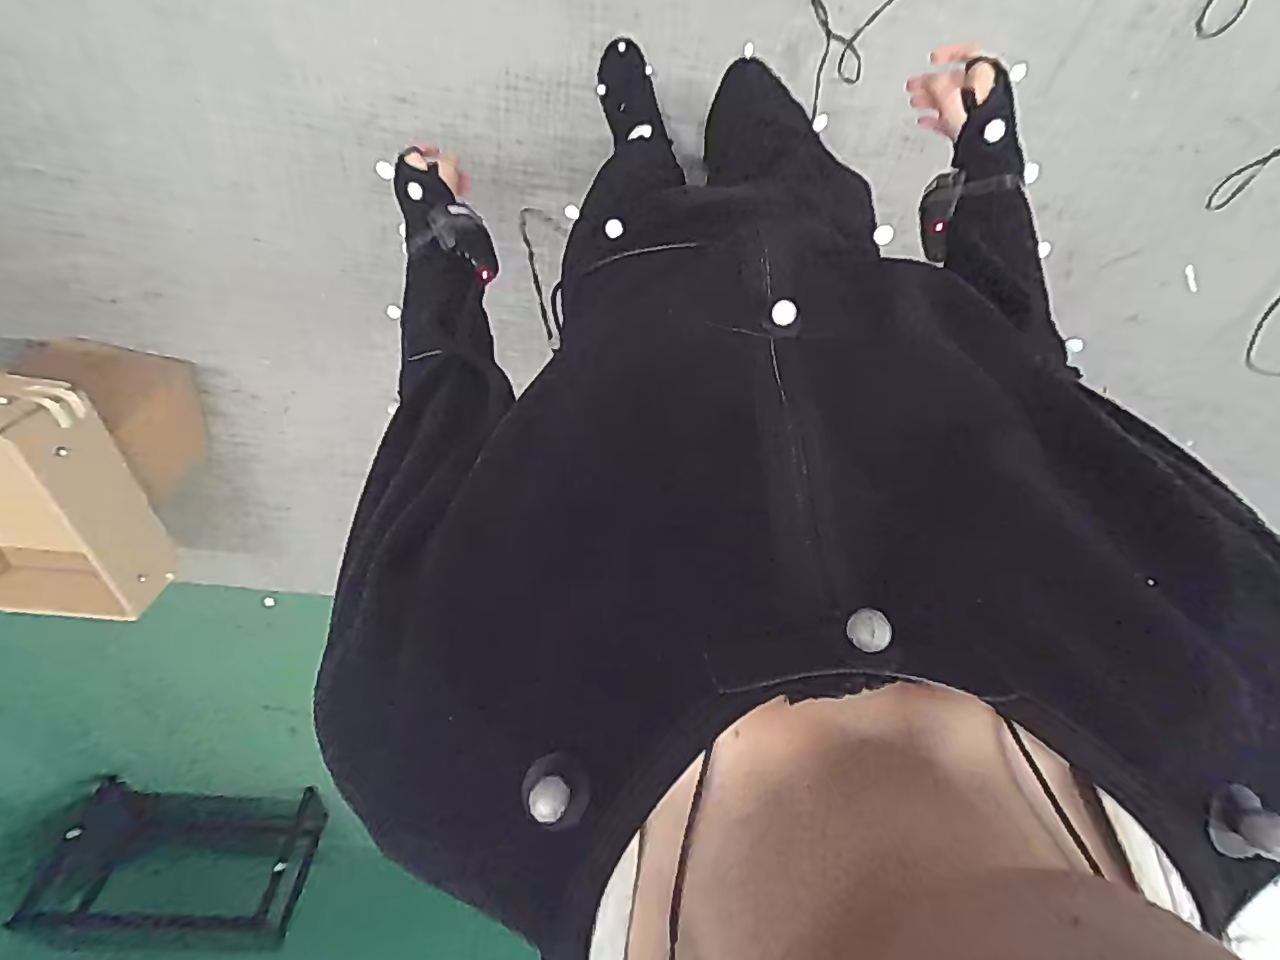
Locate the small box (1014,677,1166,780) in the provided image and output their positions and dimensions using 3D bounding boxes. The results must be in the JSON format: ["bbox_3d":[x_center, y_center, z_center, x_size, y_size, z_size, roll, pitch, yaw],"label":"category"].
[{"bbox_3d":[1.037,0.580,1.266,0.179,0.176,0.168,5,130,-4],"label":"small box"}]
